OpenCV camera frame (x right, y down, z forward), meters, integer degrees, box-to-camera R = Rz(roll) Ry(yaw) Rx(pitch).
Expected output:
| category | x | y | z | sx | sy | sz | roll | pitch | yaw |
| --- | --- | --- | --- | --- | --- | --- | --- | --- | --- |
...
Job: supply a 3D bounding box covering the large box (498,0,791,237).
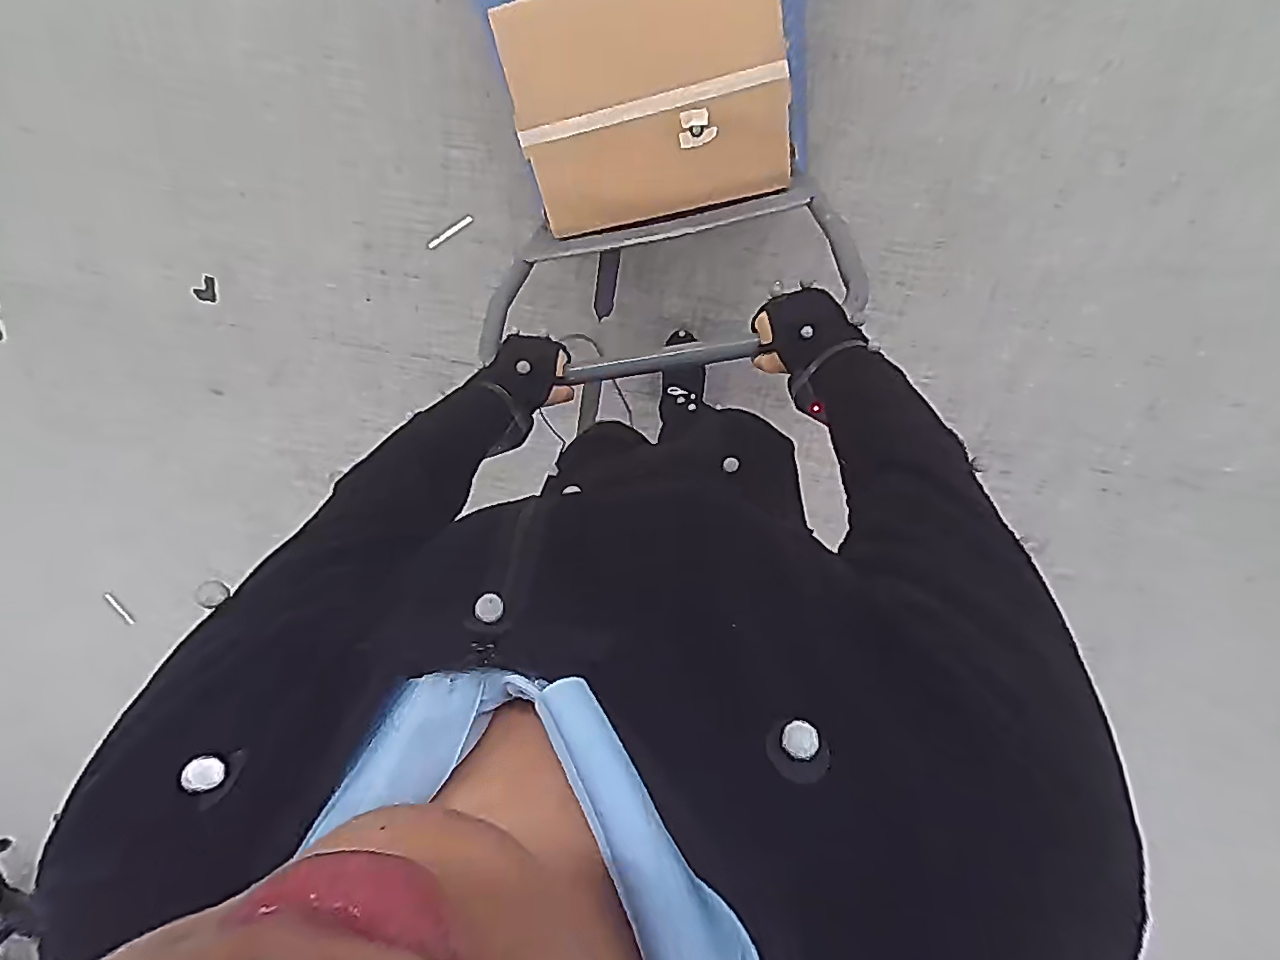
| category | x | y | z | sx | sy | sz | roll | pitch | yaw |
| --- | --- | --- | --- | --- | --- | --- | --- | --- | --- |
| large box | 0.026 | -0.665 | 0.946 | 0.408 | 0.320 | 0.320 | -9 | 127 | 11 |
